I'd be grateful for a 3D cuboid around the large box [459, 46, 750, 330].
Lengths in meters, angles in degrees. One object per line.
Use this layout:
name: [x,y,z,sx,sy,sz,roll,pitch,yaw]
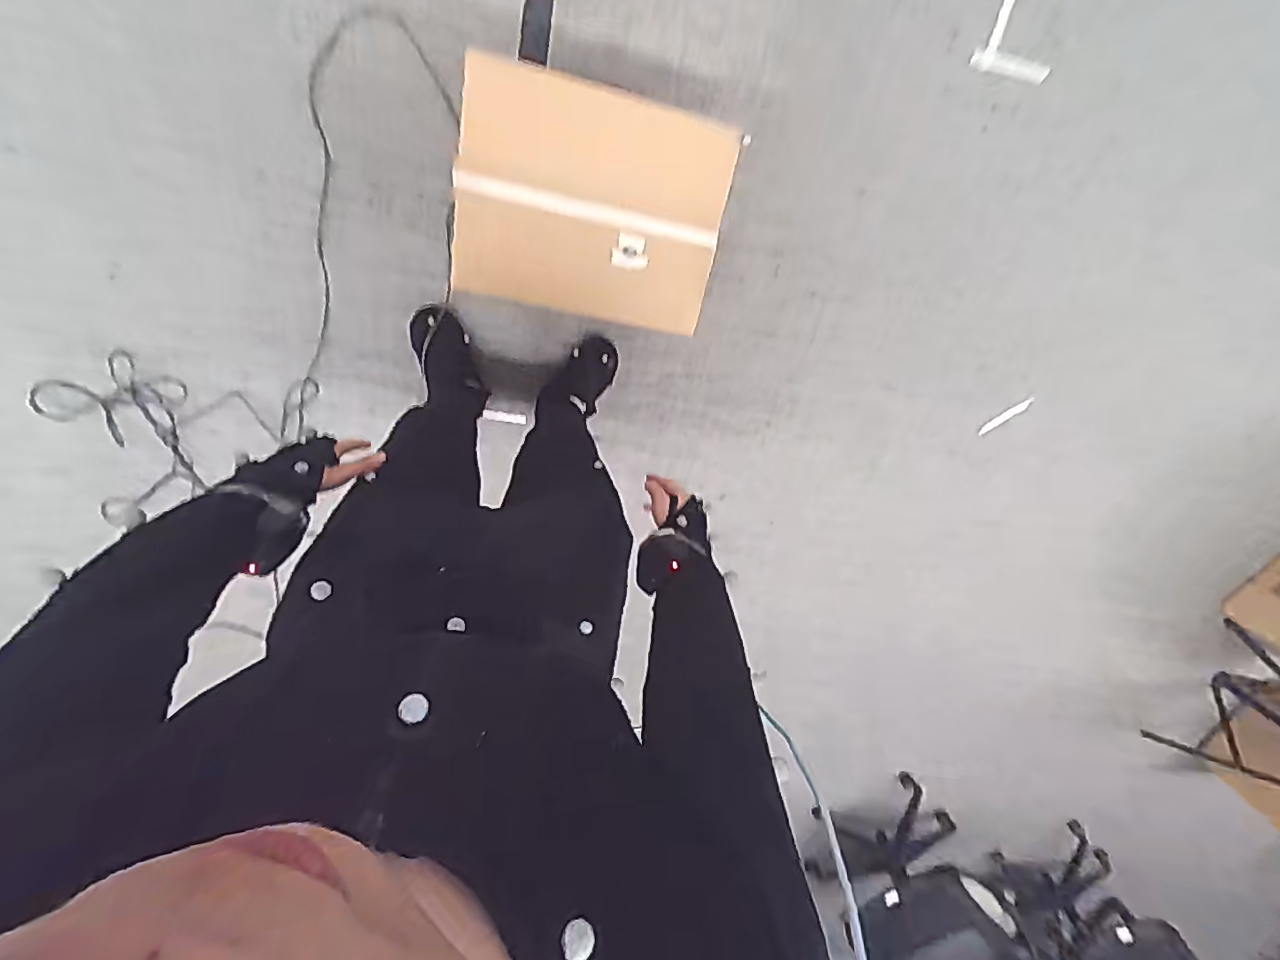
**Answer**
large box: [-0.083,-0.475,0.941,0.408,0.320,0.320,7,115,-14]
